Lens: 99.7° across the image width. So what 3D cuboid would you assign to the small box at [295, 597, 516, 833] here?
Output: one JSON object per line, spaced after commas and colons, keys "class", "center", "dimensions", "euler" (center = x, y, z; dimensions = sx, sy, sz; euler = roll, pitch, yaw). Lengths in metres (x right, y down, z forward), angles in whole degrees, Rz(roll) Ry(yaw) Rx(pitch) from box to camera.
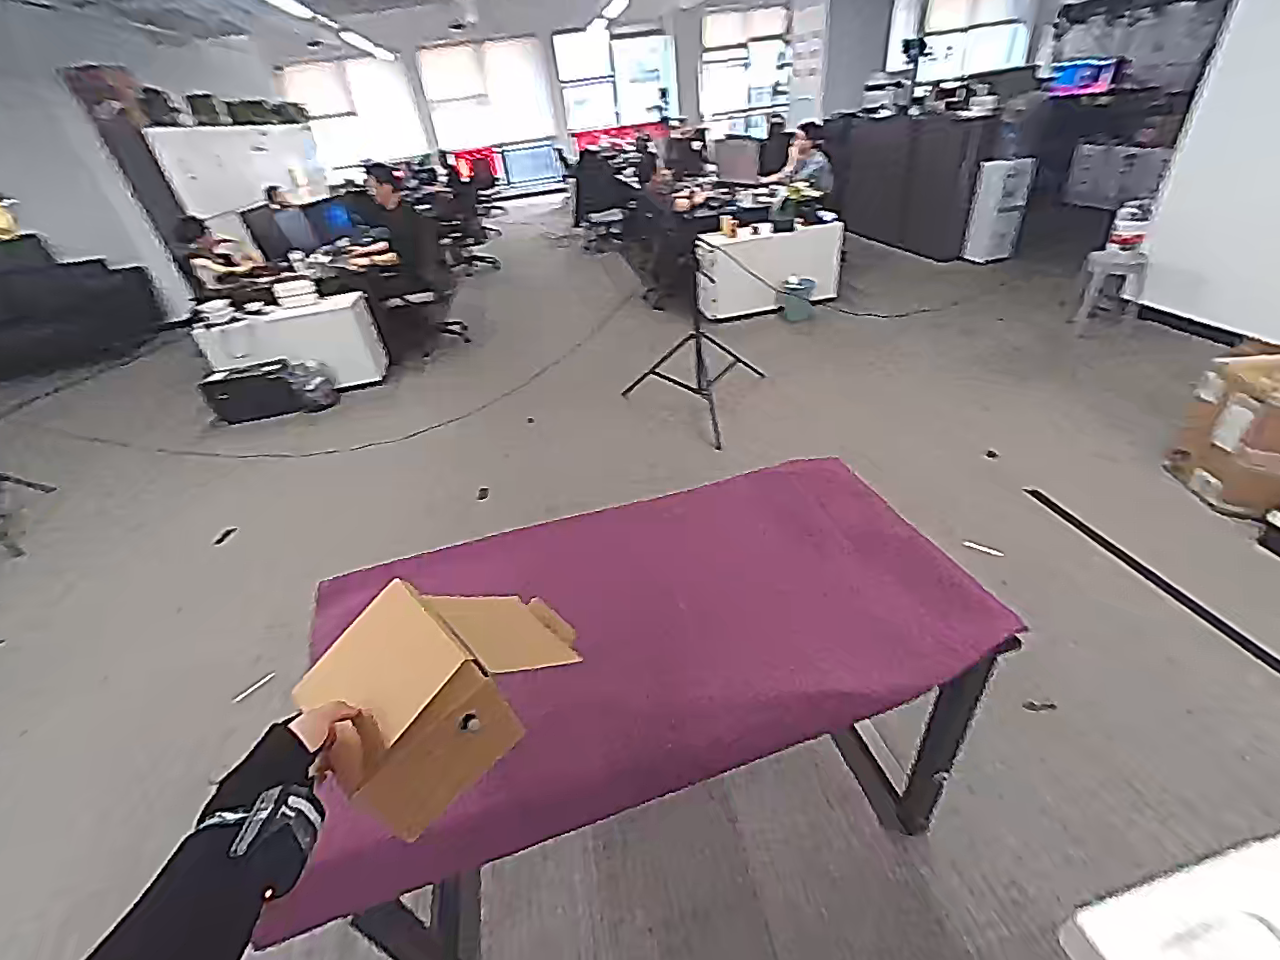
{"class": "small box", "center": [-0.274, 0.290, 0.673], "dimensions": [0.168, 0.176, 0.179], "euler": [31, 57, 35]}
